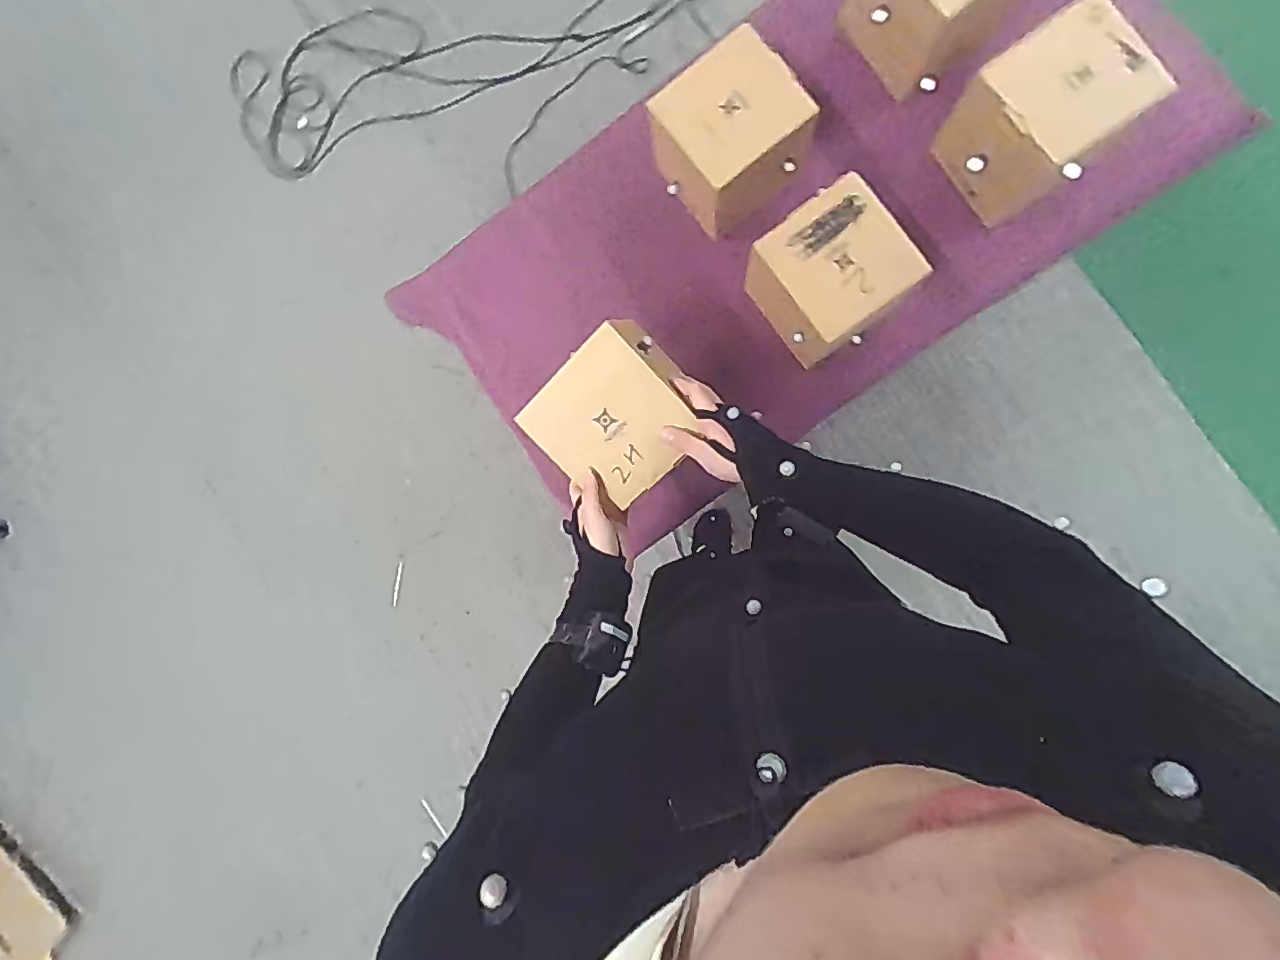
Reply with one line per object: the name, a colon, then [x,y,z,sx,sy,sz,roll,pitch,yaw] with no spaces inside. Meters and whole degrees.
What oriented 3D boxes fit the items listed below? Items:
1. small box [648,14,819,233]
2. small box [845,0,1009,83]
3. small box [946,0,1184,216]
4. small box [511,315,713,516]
small box: [0.133,-0.516,0.811,0.179,0.176,0.168,-37,85,6]
small box: [0.425,-0.722,0.773,0.168,0.176,0.179,-34,85,6]
small box: [0.564,-0.513,0.755,0.179,0.176,0.168,-33,86,7]
small box: [-0.024,-0.090,0.689,0.168,0.176,0.179,-41,98,21]
